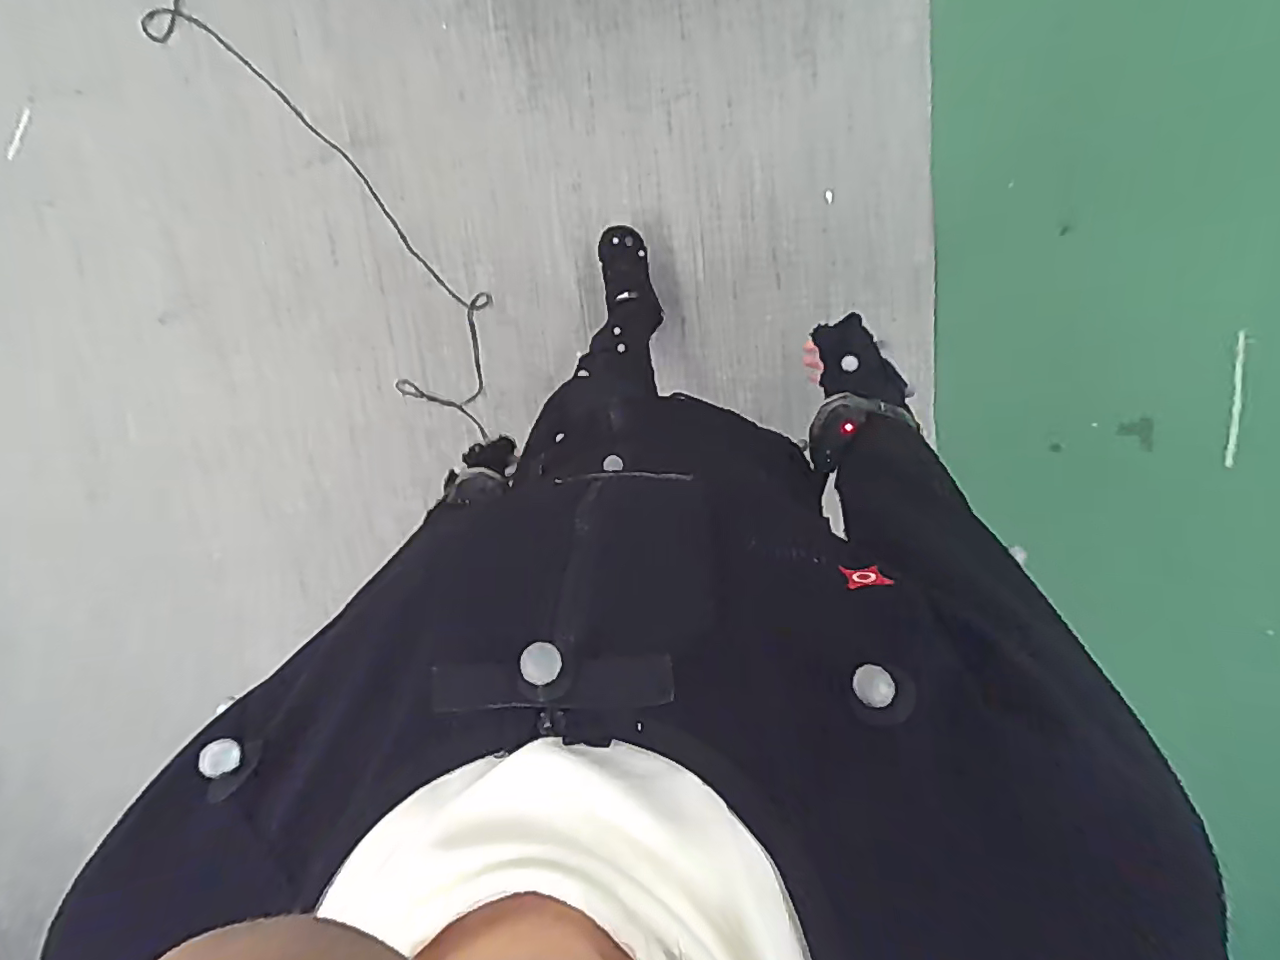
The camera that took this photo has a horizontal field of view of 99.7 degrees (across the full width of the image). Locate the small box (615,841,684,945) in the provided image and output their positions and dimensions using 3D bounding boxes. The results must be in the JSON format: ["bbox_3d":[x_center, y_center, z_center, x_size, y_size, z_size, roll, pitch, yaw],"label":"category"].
[{"bbox_3d":[0.030,1.145,1.513,0.168,0.176,0.179,-8,102,7],"label":"small box"}]
